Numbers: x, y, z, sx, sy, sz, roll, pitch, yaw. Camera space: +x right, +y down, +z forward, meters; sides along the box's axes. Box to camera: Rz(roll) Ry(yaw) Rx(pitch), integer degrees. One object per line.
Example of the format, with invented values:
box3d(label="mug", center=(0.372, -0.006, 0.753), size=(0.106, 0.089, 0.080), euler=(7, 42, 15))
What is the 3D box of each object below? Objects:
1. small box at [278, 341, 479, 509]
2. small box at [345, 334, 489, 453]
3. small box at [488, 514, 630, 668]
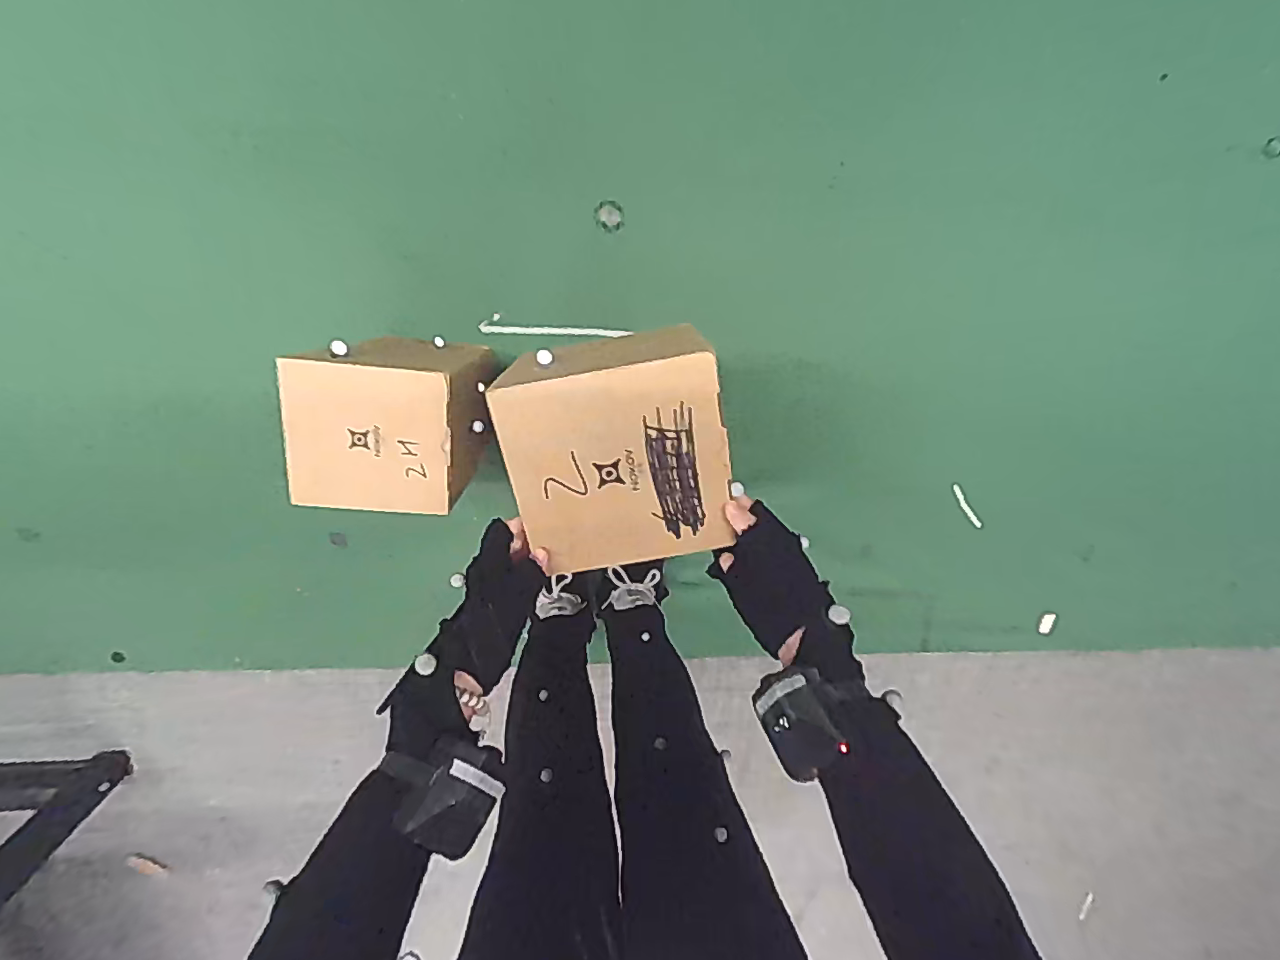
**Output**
box3d(label="small box", center=(-0.307, -0.076, 0.669), size=(0.179, 0.176, 0.168), euler=(5, 108, -7))
box3d(label="small box", center=(-0.332, -0.120, 0.826), size=(0.168, 0.176, 0.179), euler=(6, 108, -7))
box3d(label="small box", center=(-0.147, 0.194, 0.969), size=(0.179, 0.176, 0.168), euler=(40, 111, 2))
